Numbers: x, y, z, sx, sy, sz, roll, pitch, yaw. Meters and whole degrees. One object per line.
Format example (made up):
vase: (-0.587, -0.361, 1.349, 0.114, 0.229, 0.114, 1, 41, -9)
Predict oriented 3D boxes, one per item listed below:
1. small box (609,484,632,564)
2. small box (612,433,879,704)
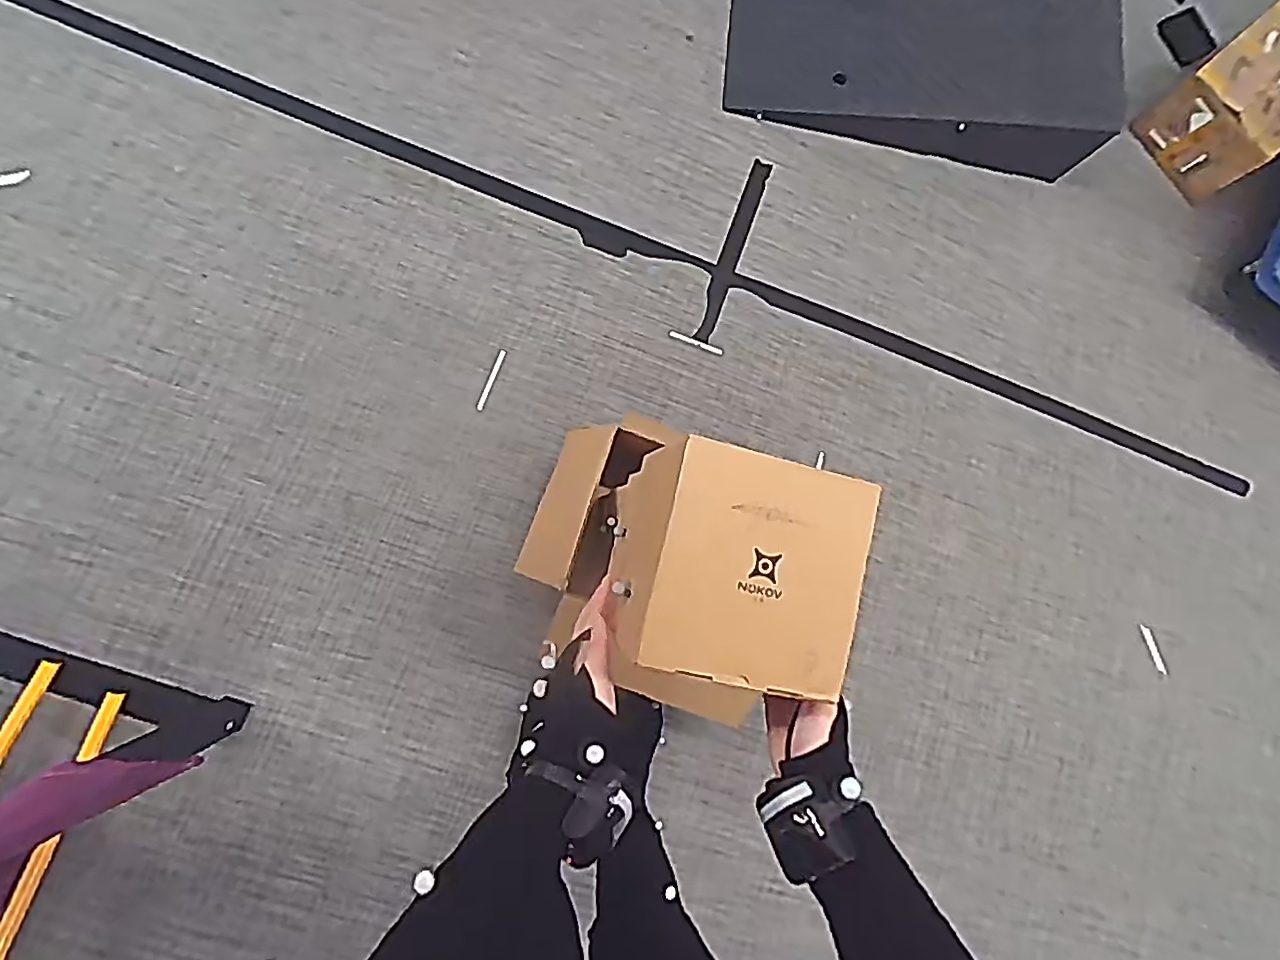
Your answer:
small box: (0.038, 0.095, 0.978, 0.179, 0.176, 0.168, -1, 86, -12)
small box: (0.077, 0.072, 0.486, 0.168, 0.176, 0.179, 15, 84, -10)
